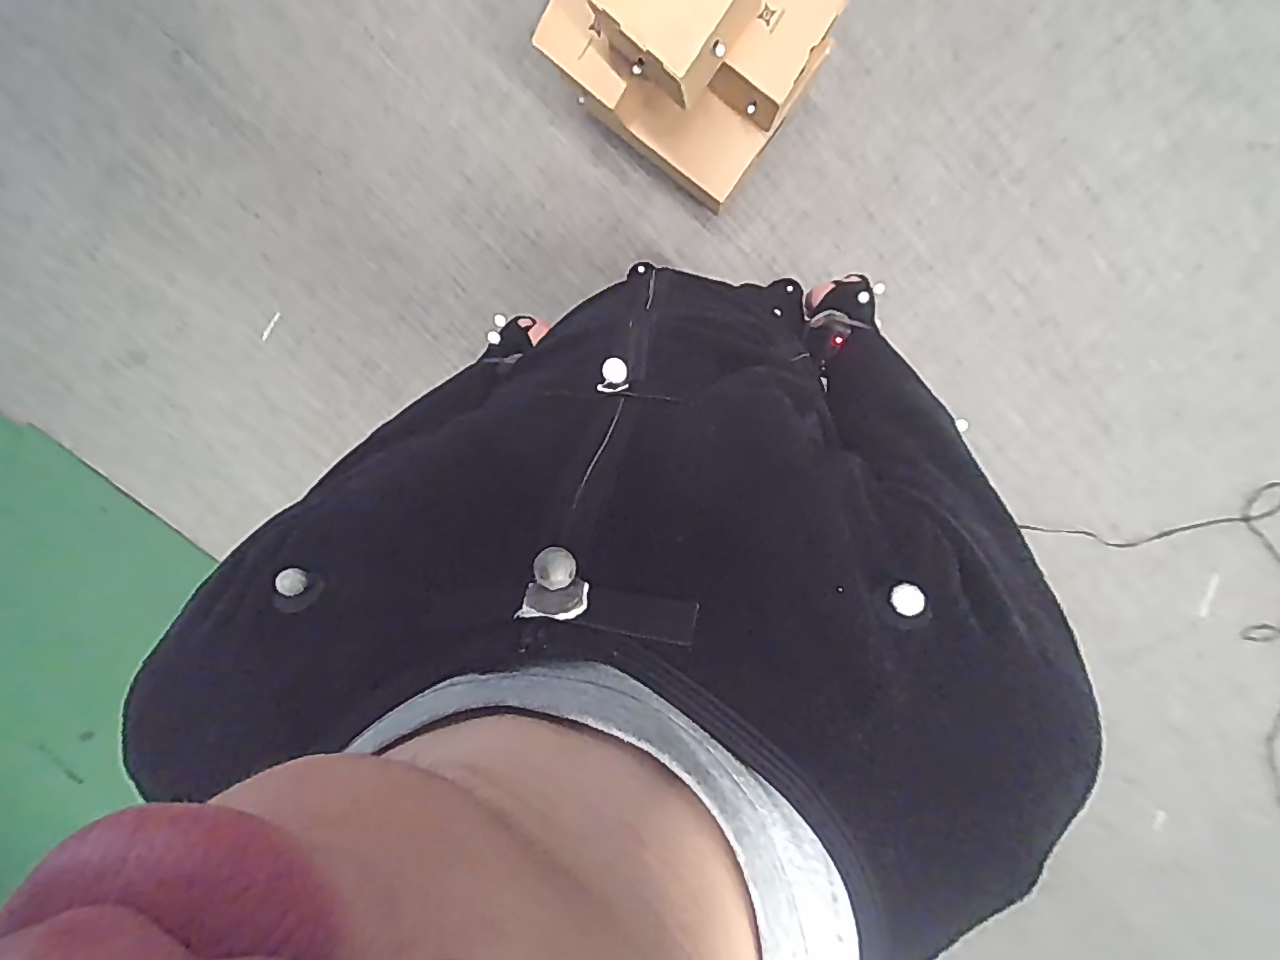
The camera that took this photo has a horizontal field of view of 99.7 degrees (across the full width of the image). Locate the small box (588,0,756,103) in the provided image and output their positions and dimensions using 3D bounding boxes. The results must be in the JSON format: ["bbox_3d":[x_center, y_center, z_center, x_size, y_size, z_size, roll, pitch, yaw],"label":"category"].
[{"bbox_3d":[0.055,-0.672,0.750,0.168,0.176,0.179,38,113,-7],"label":"small box"}]

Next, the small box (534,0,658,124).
[{"bbox_3d":[-0.046,-0.749,0.913,0.168,0.176,0.179,37,114,-7],"label":"small box"}]

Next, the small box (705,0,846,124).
[{"bbox_3d":[0.202,-0.726,0.890,0.179,0.176,0.168,34,109,-5],"label":"small box"}]
